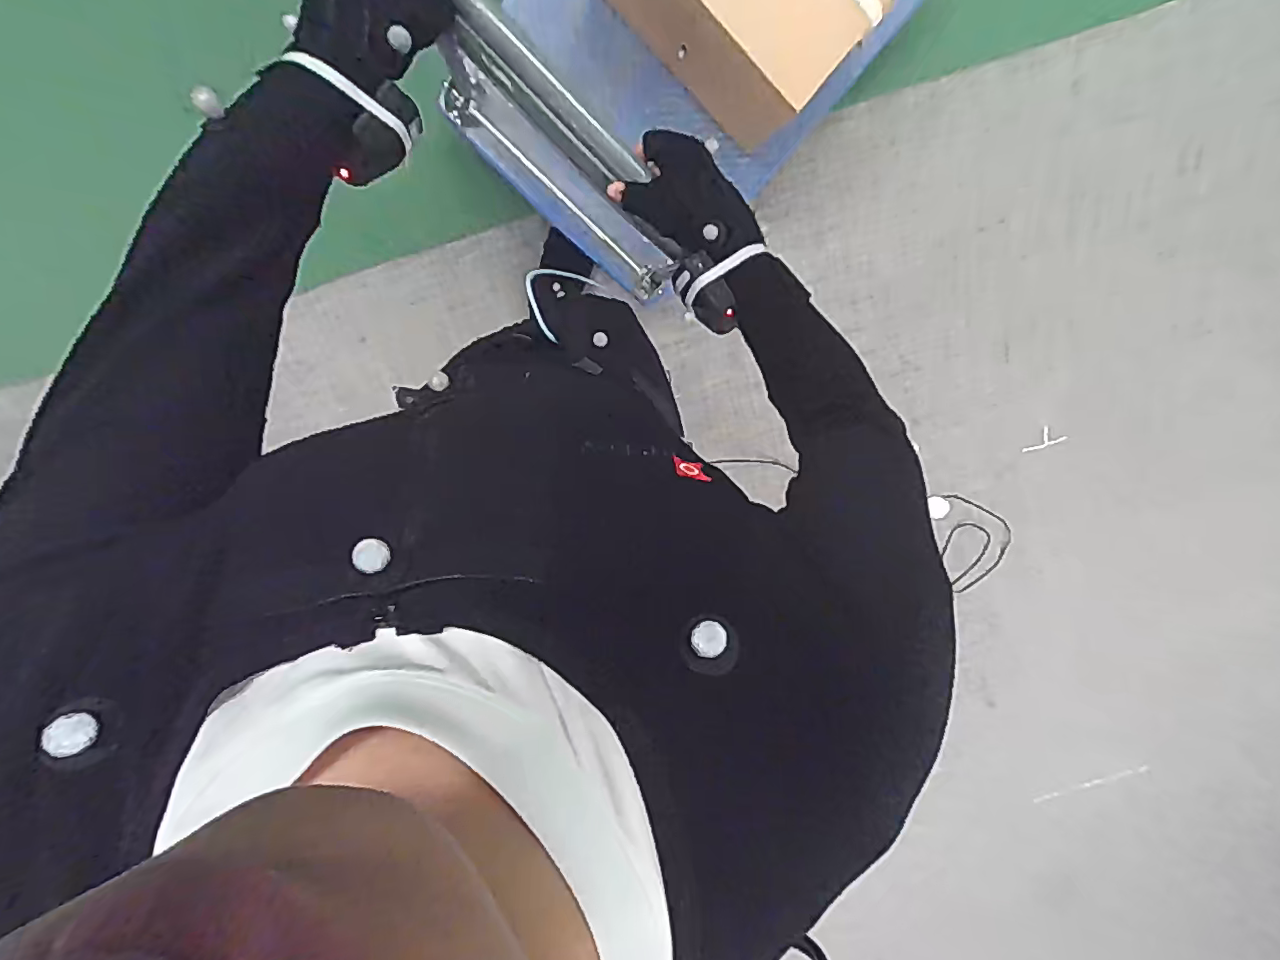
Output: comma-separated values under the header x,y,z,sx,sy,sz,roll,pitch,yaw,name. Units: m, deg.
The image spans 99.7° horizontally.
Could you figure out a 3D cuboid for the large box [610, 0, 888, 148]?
x,y,z,sx,sy,sz,roll,pitch,yaw,name
0.182,-0.840,0.874,0.408,0.320,0.320,38,103,-16,large box
